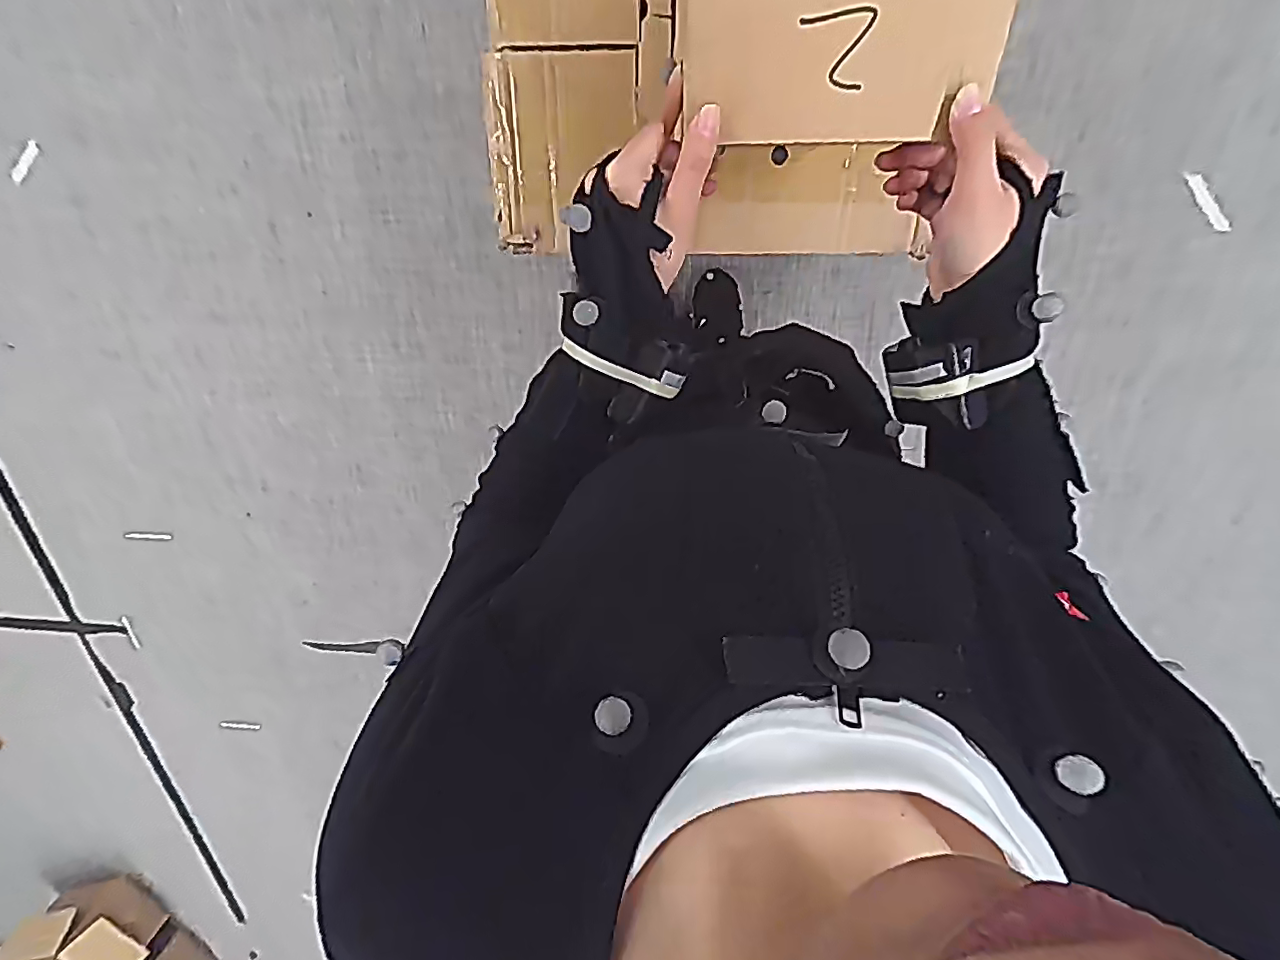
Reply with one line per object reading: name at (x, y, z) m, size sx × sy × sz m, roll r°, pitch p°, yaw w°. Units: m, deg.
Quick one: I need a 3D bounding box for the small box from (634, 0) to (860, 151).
small box at (0.092, -0.408, 0.495) m, size 0.179 × 0.176 × 0.168 m, roll 3°, pitch 115°, yaw 4°
